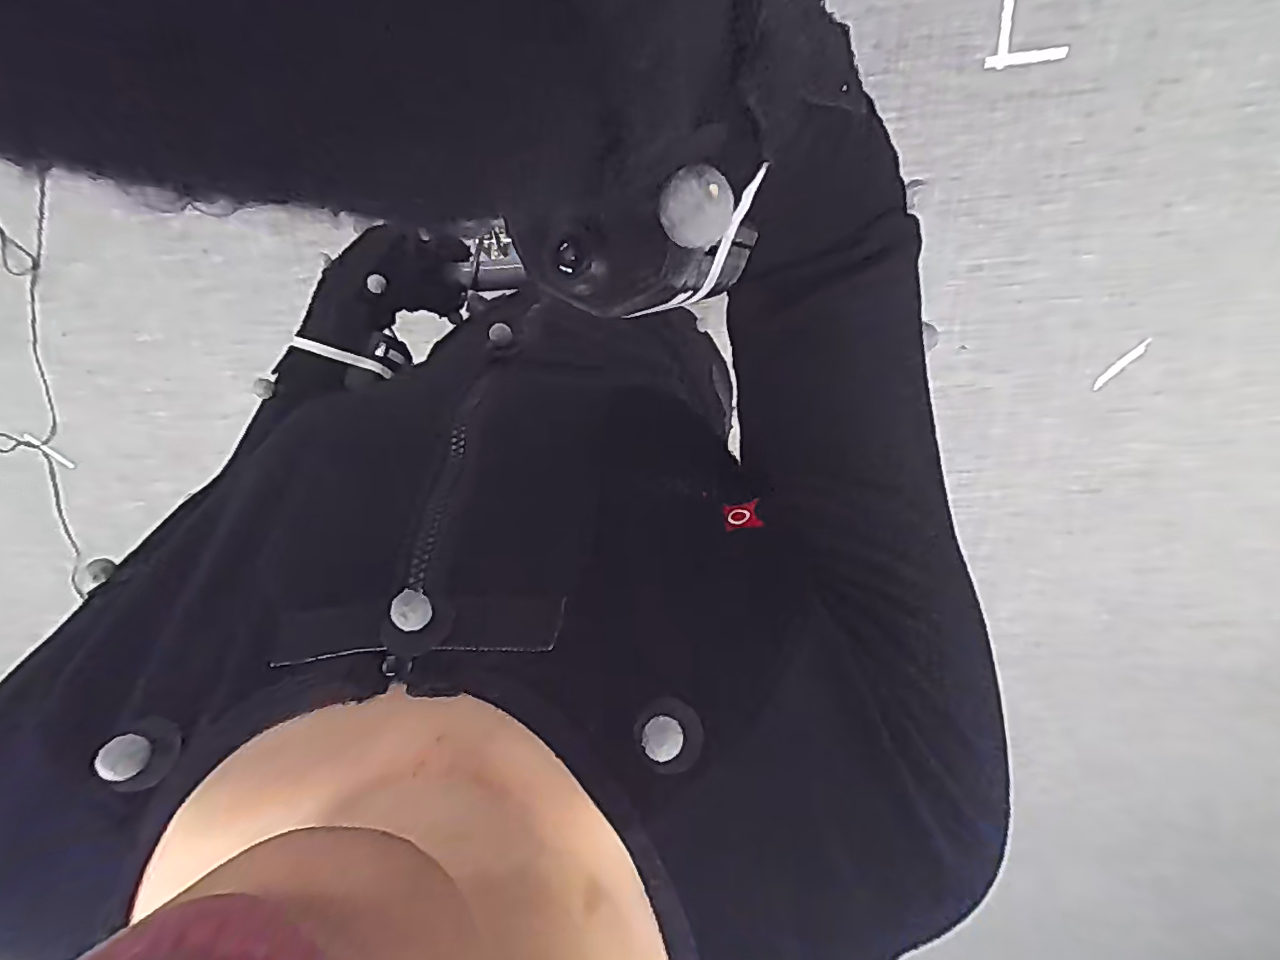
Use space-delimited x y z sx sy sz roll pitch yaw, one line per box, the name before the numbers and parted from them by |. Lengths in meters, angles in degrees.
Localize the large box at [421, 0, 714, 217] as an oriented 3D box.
large box | -0.101 -0.640 0.911 0.408 0.320 0.320 -4 113 0
